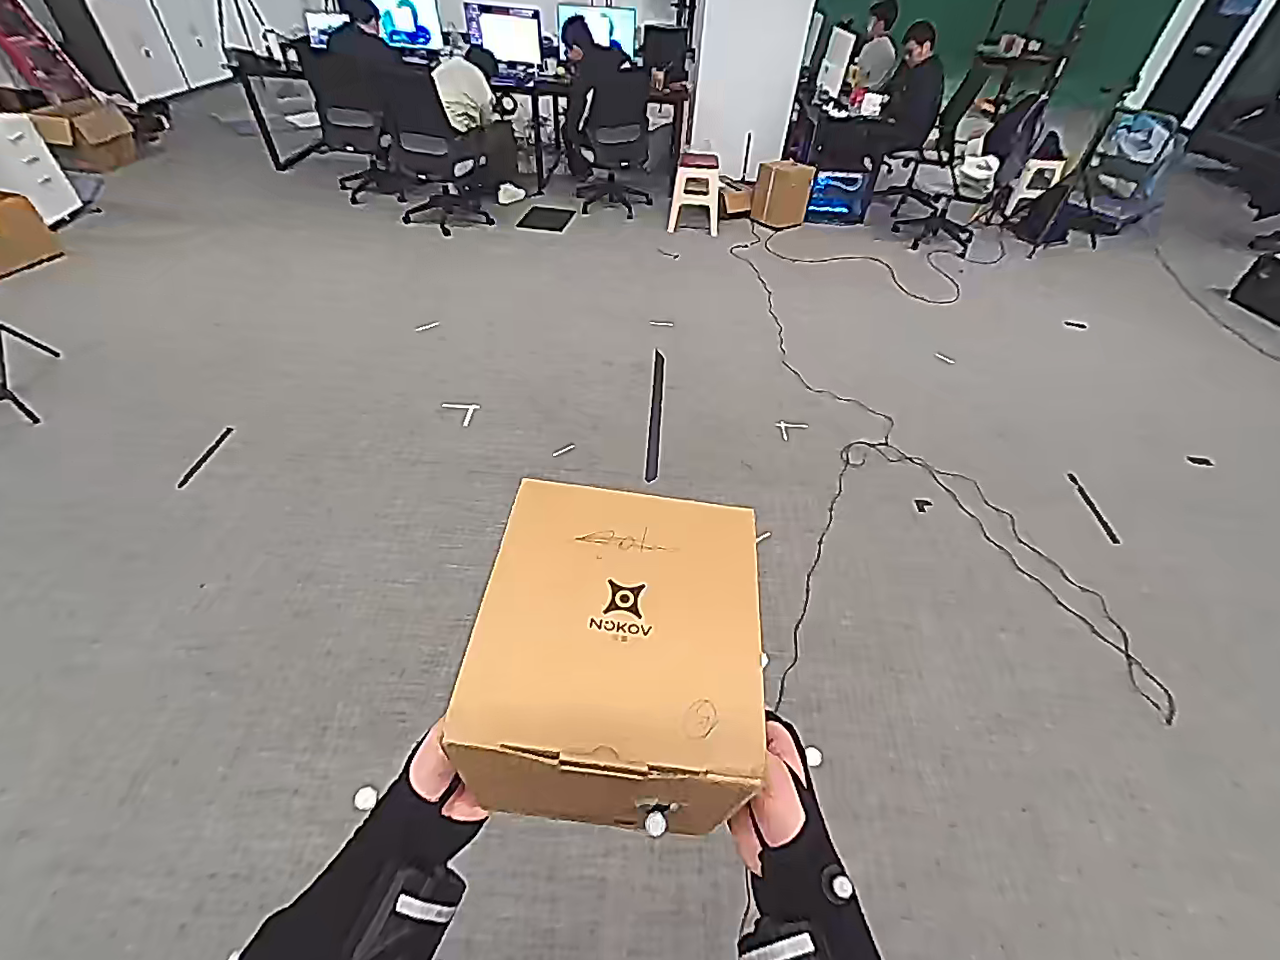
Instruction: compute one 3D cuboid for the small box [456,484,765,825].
[{"bbox_3d":[-0.015,0.130,0.392,0.168,0.176,0.179,8,47,-2],"label":"small box"}]
